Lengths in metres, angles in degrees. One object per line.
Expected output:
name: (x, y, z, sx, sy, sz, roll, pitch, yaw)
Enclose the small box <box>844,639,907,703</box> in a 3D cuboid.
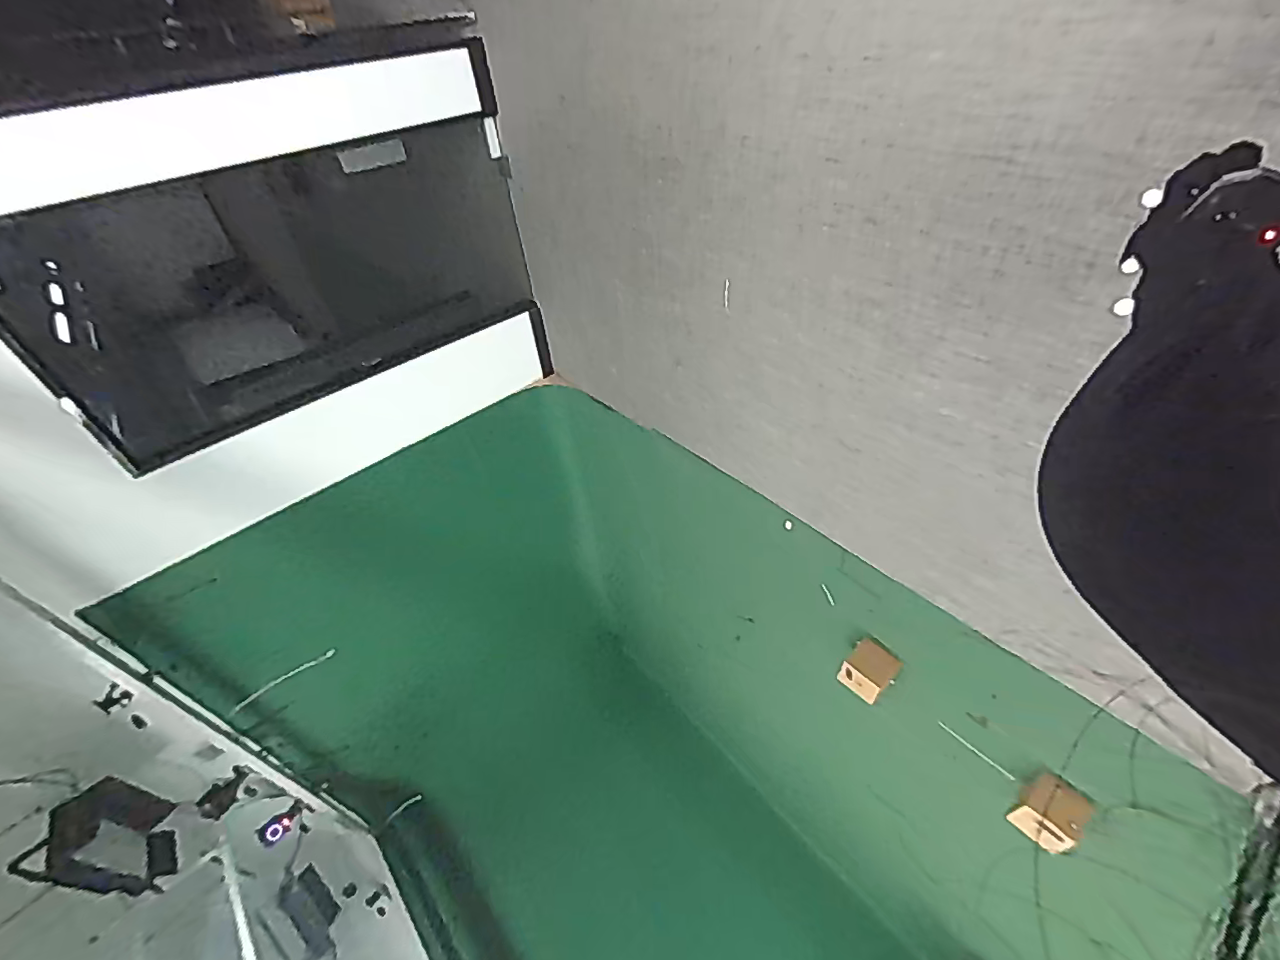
small box: (1.029, 0.825, 2.365, 0.179, 0.176, 0.168, 36, 148, 34)
